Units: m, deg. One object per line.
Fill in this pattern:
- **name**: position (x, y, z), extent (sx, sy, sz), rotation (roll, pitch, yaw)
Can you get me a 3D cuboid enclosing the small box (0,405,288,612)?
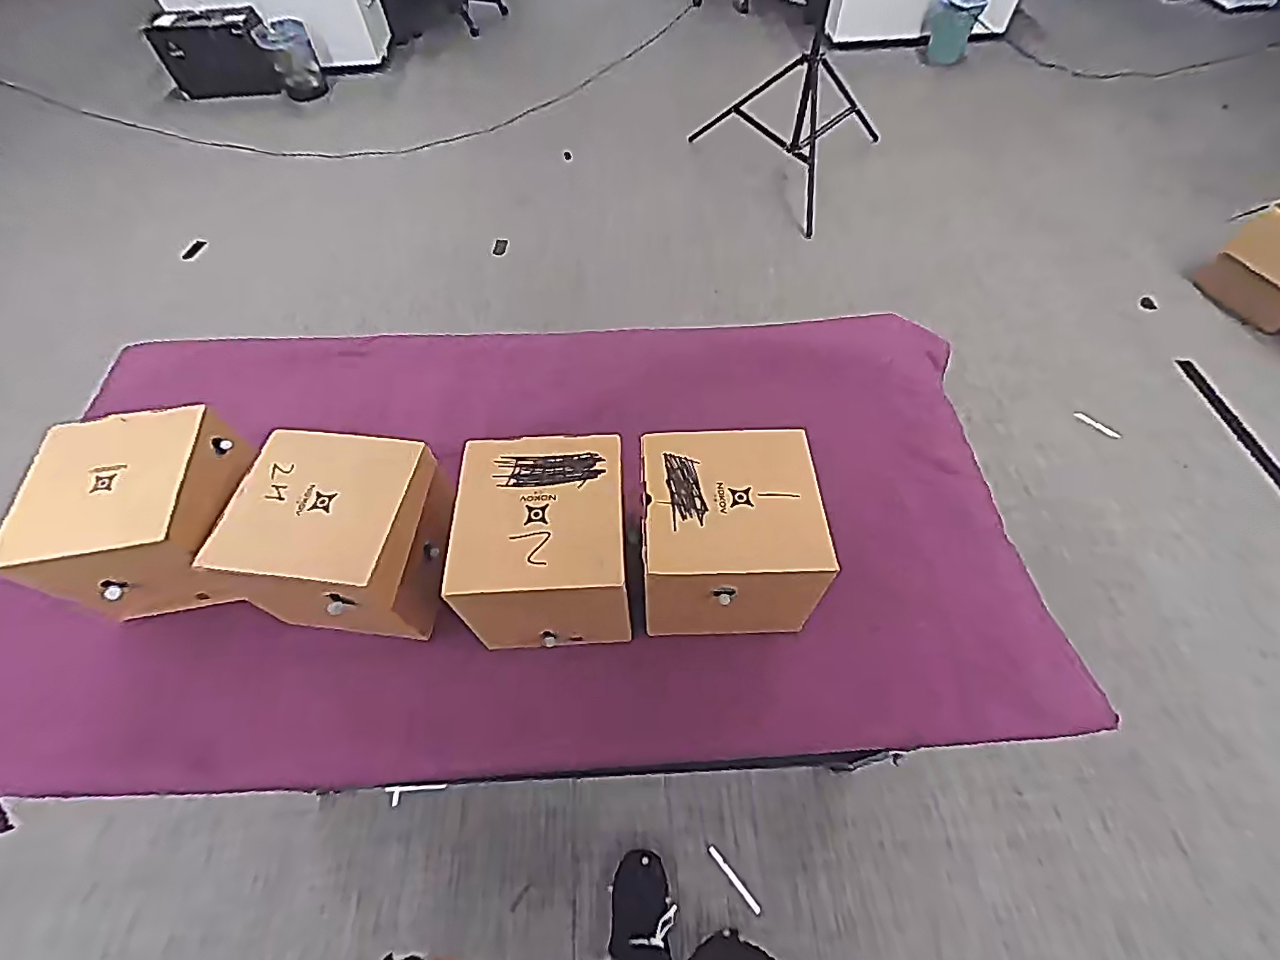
- **small box**: position (-0.549, 0.042, 0.632), extent (0.168, 0.176, 0.179), rotation (-10, 58, -5)
